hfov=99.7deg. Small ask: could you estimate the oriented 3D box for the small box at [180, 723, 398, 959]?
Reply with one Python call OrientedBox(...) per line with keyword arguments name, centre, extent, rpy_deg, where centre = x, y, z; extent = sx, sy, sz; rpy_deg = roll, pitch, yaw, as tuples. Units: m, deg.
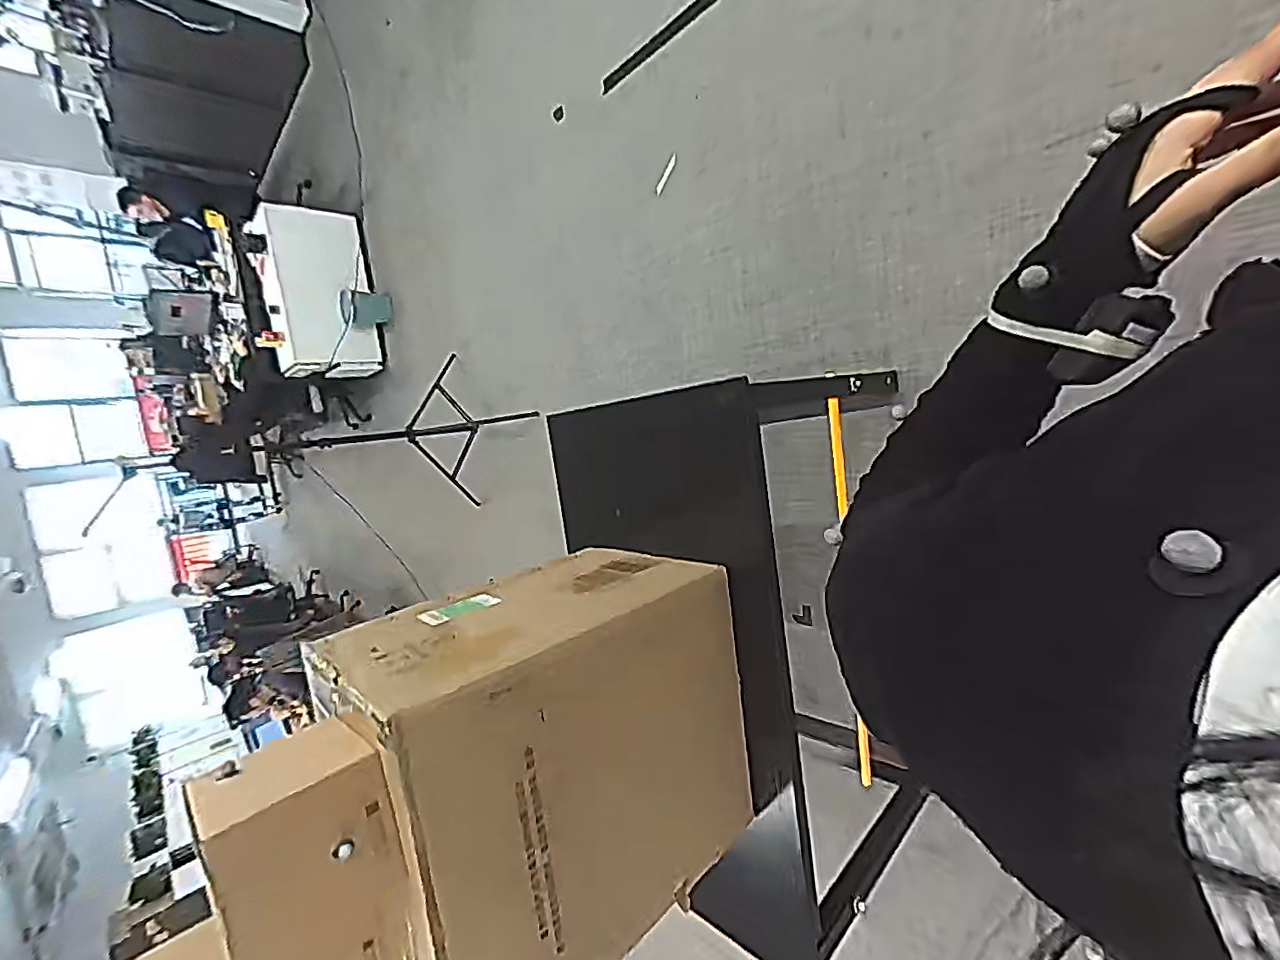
OrientedBox(name="small box", centre=(-0.407, 0.413, 0.631), extent=(0.179, 0.176, 0.168), rpy_deg=(-6, 97, 46))
